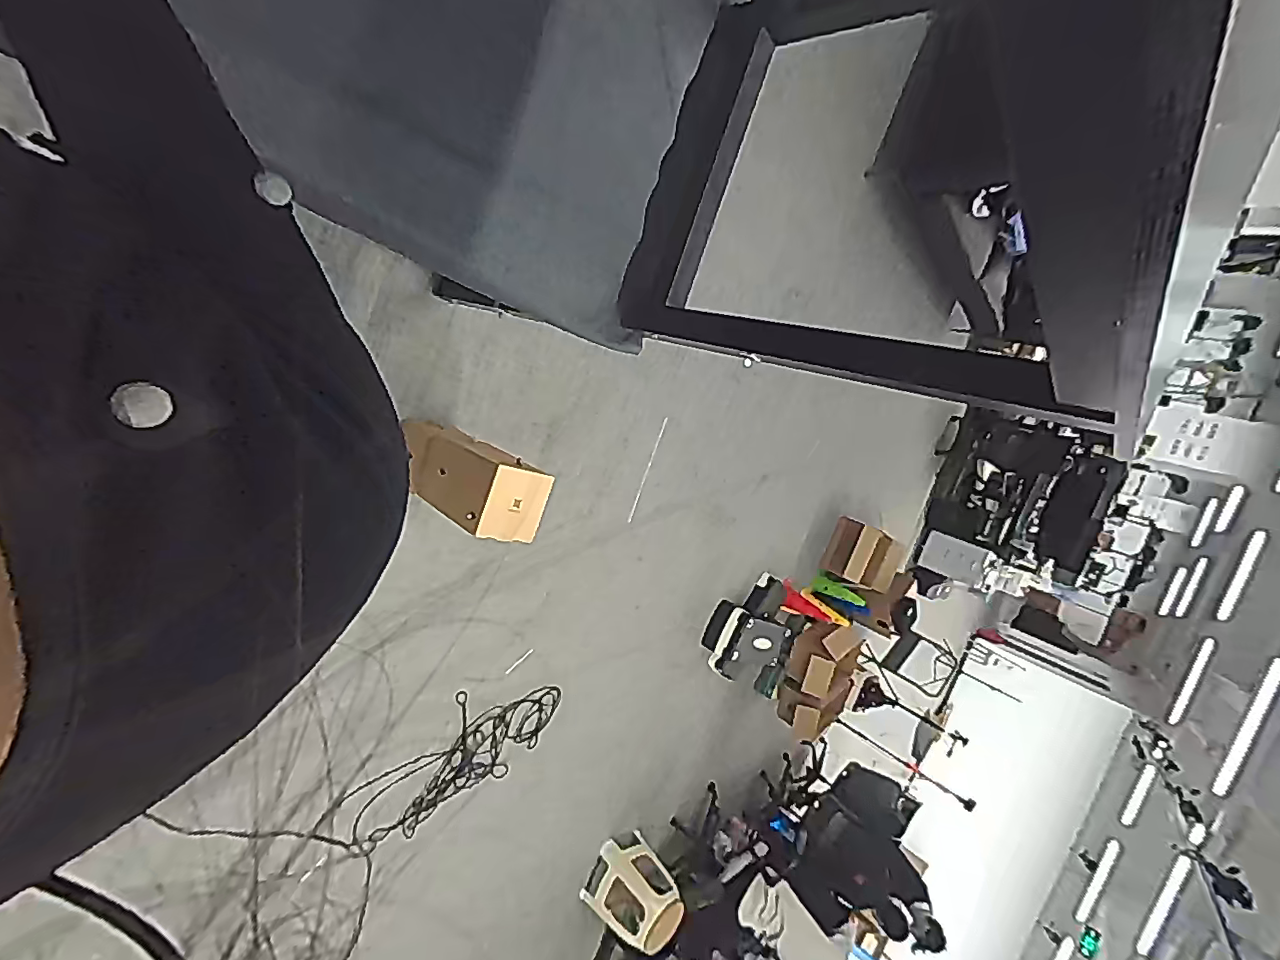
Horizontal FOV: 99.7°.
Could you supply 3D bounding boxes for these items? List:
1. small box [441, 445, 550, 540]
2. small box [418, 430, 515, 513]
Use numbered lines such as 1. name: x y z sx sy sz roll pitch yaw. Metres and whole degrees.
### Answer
1. small box: -0.351 0.027 1.297 0.168 0.176 0.179 15 97 -49
2. small box: -0.458 -0.016 1.413 0.168 0.176 0.179 11 99 -49
